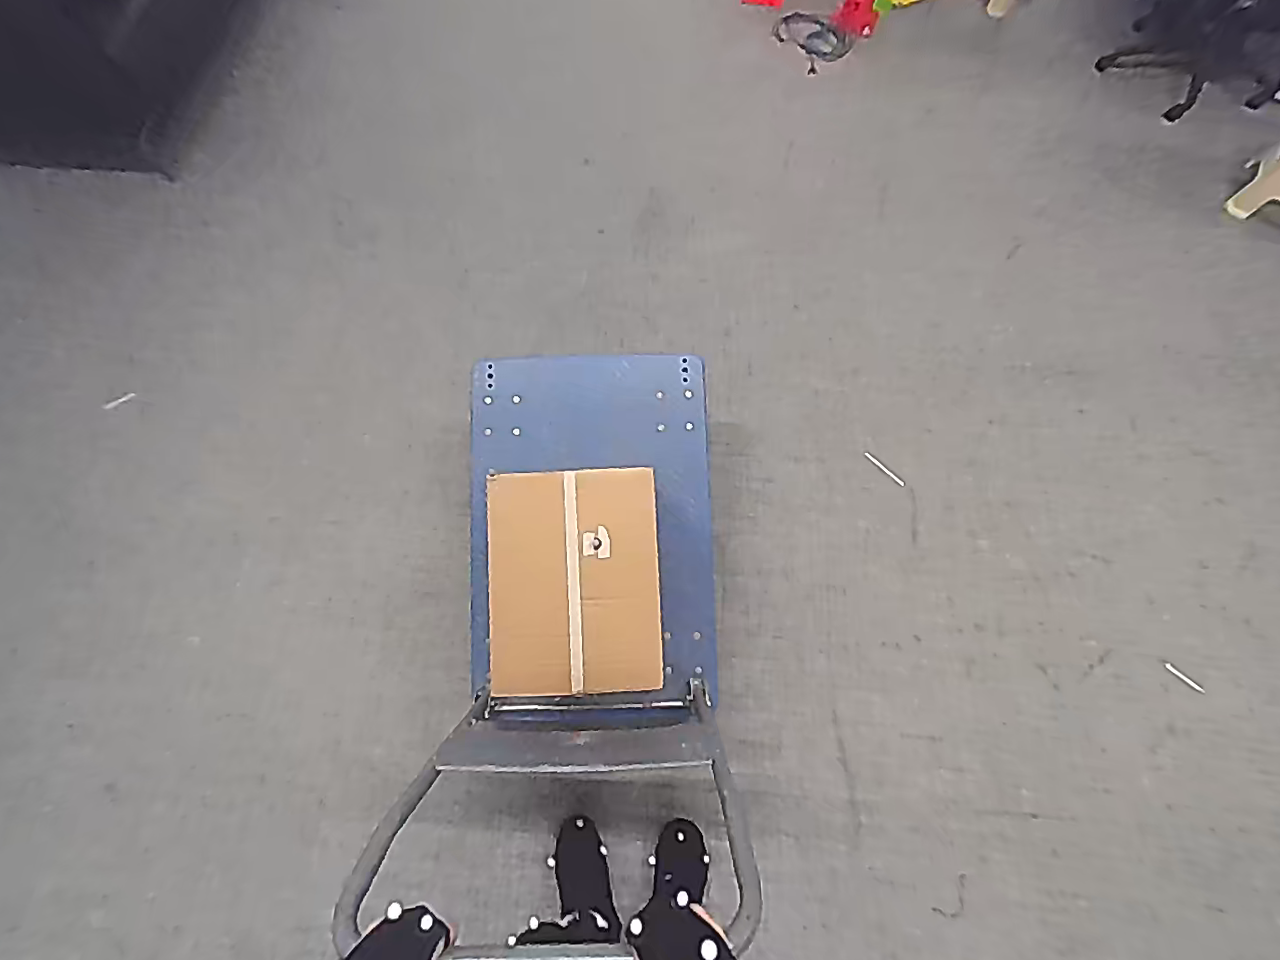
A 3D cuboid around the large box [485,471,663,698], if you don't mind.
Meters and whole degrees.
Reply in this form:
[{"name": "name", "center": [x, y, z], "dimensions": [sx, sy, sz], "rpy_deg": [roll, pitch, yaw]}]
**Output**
[{"name": "large box", "center": [-0.123, 0.204, 1.145], "dimensions": [0.320, 0.320, 0.408], "rpy_deg": [-3, 85, 0]}]
